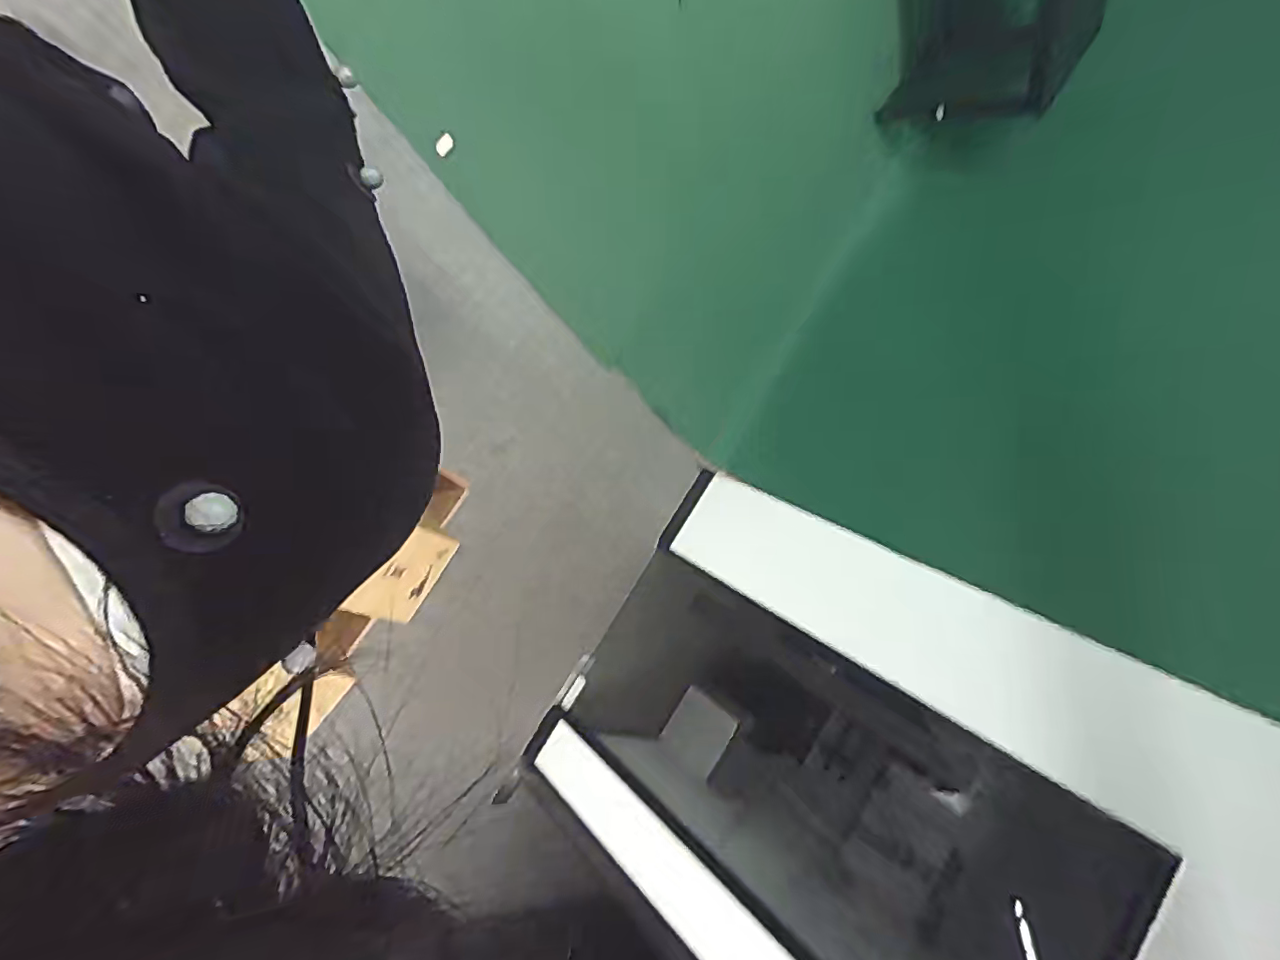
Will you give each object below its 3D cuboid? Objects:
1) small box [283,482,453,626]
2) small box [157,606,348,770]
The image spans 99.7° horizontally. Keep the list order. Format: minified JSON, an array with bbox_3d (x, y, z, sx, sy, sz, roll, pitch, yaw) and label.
[{"bbox_3d":[-0.468,0.121,0.928,0.168,0.176,0.179,-57,141,-6],"label":"small box"},{"bbox_3d":[-0.628,0.330,0.876,0.168,0.176,0.179,-51,141,-13],"label":"small box"}]
